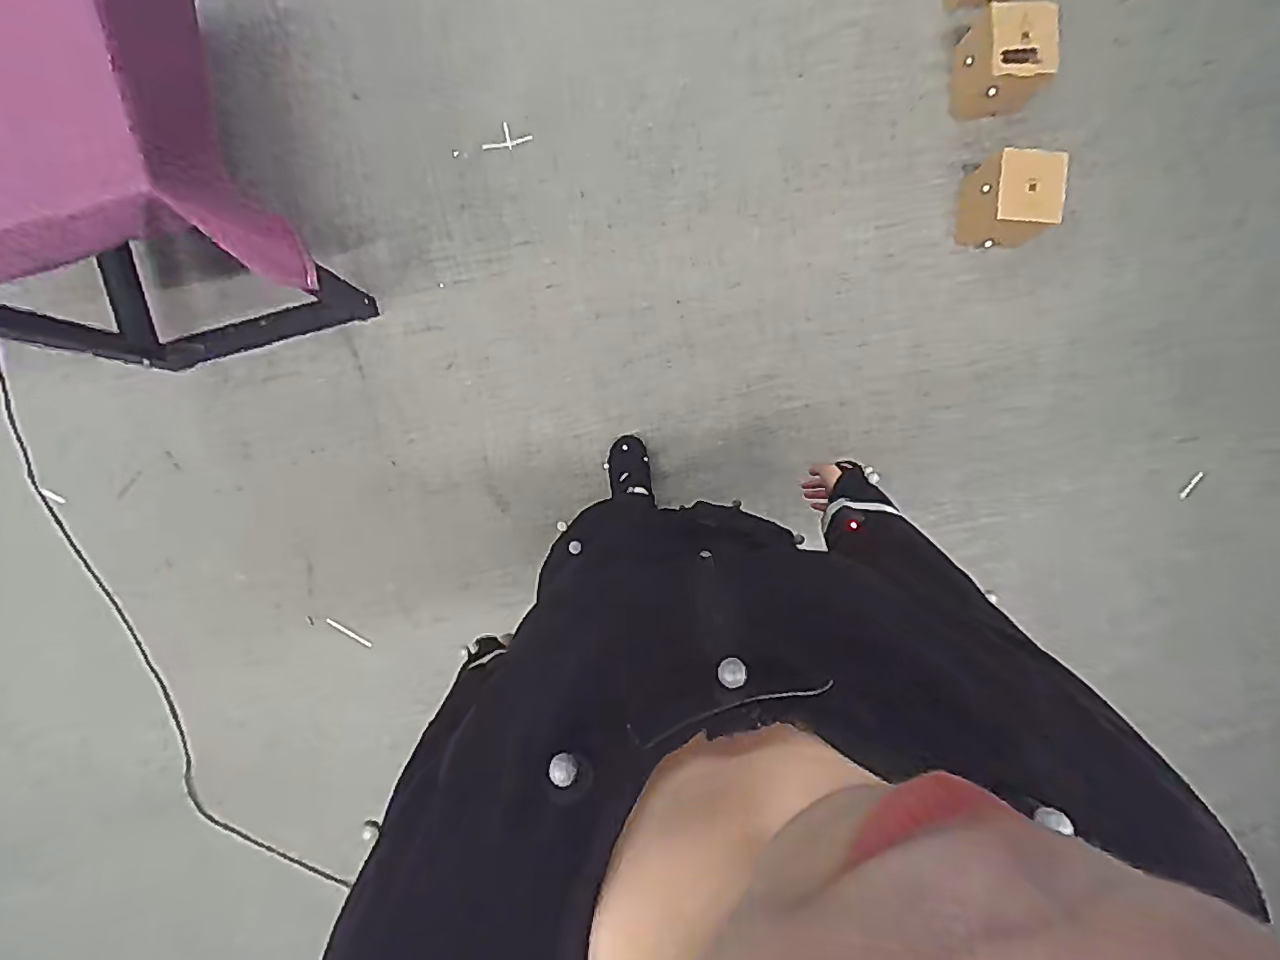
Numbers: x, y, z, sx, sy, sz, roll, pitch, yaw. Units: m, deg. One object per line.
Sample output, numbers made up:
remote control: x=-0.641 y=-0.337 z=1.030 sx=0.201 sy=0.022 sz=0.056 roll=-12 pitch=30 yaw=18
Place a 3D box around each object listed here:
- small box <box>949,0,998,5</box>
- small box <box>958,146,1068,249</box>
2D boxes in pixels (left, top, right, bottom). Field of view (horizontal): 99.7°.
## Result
small box: x=0.897 y=-1.364 z=1.378 sx=0.168 sy=0.176 sz=0.179 roll=-11 pitch=92 yaw=-1
small box: x=0.961 y=-0.728 z=1.407 sx=0.168 sy=0.176 sz=0.179 roll=5 pitch=93 yaw=-1
